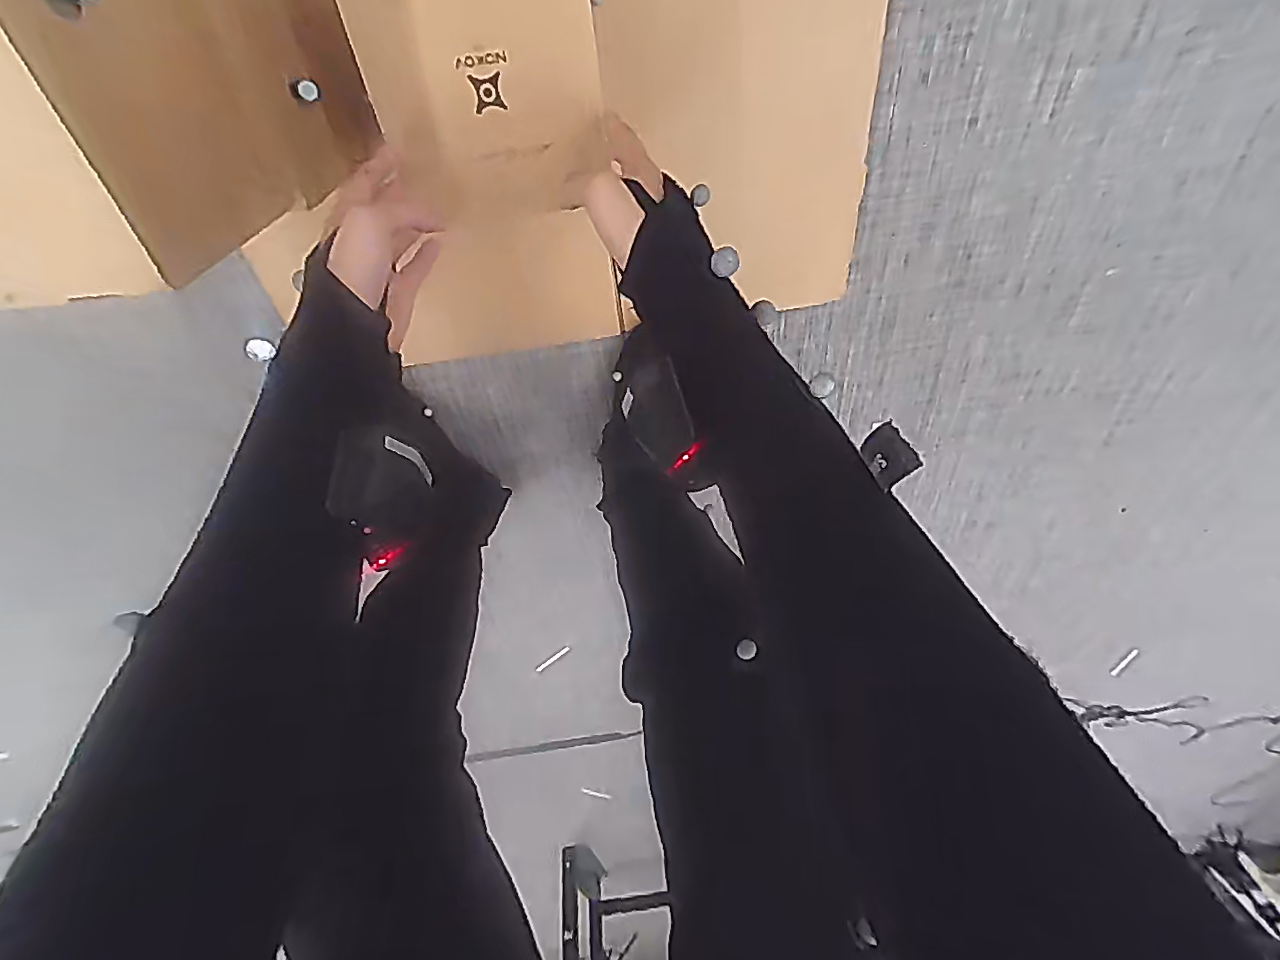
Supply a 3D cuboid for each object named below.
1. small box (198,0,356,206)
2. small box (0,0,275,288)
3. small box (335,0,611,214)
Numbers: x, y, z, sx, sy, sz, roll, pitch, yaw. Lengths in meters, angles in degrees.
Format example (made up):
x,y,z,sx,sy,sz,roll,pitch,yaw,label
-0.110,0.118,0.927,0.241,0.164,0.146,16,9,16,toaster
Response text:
x,y,z,sx,sy,sz,roll,pitch,yaw,label
-0.354,-0.328,0.421,0.168,0.176,0.179,-6,133,-1,small box
-0.349,-0.222,0.294,0.168,0.176,0.179,-5,133,-1,small box
-0.120,-0.335,0.437,0.168,0.176,0.179,-9,128,0,small box
